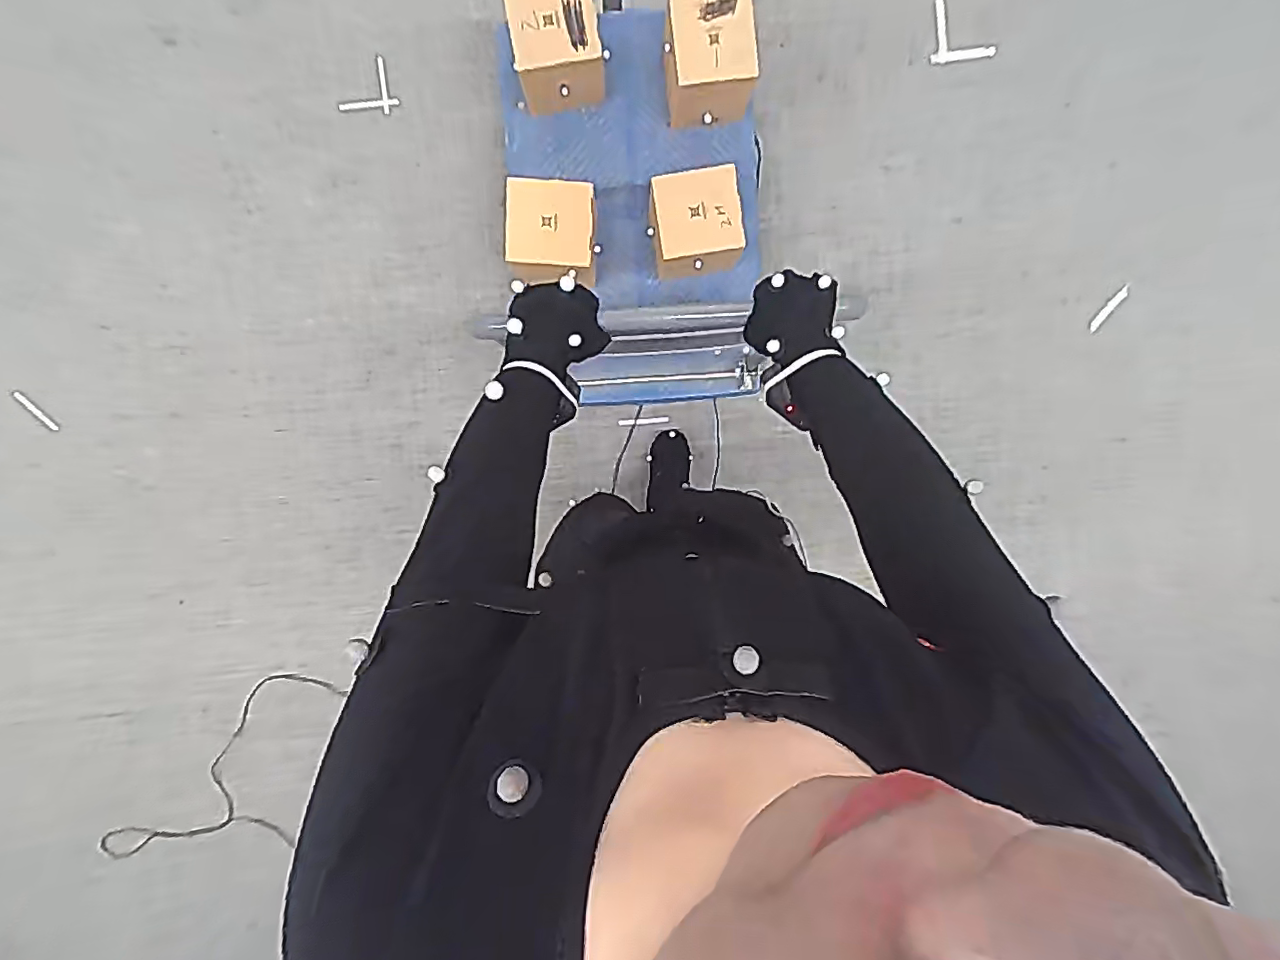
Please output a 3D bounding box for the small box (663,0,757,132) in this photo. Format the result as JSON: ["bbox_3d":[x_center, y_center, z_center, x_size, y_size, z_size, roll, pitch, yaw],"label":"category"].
[{"bbox_3d":[0.144,-0.891,1.164,0.168,0.176,0.179,-7,96,-1],"label":"small box"}]

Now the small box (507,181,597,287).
[{"bbox_3d":[-0.188,-0.531,1.188,0.179,0.176,0.168,2,95,-3],"label":"small box"}]

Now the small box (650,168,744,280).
[{"bbox_3d":[0.118,-0.554,1.194,0.179,0.176,0.168,-9,96,-1],"label":"small box"}]
